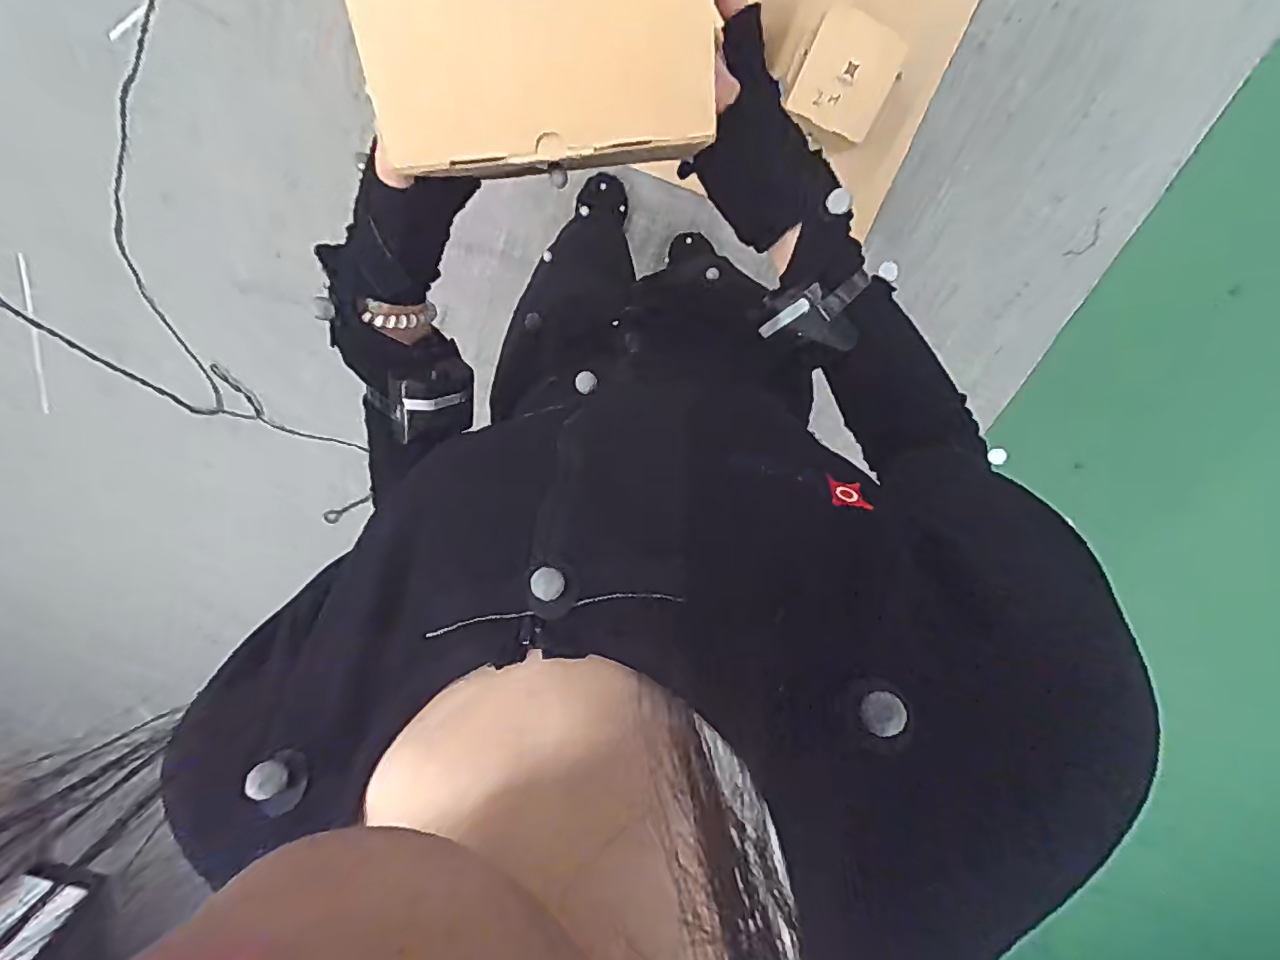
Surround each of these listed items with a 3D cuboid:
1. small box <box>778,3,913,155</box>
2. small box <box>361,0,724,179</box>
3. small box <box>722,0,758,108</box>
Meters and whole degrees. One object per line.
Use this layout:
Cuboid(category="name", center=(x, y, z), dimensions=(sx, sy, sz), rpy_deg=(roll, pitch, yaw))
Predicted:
Cuboid(category="small box", center=(0.386, -0.768, 1.059), dimensions=(0.168, 0.176, 0.179), rpy_deg=(23, 117, -6))
Cuboid(category="small box", center=(-0.045, -0.275, 0.303), dimensions=(0.168, 0.176, 0.179), rpy_deg=(-4, 119, 3))
Cuboid(category="small box", center=(0.116, -0.840, 1.042), dimensions=(0.168, 0.176, 0.179), rpy_deg=(17, 116, -4))
